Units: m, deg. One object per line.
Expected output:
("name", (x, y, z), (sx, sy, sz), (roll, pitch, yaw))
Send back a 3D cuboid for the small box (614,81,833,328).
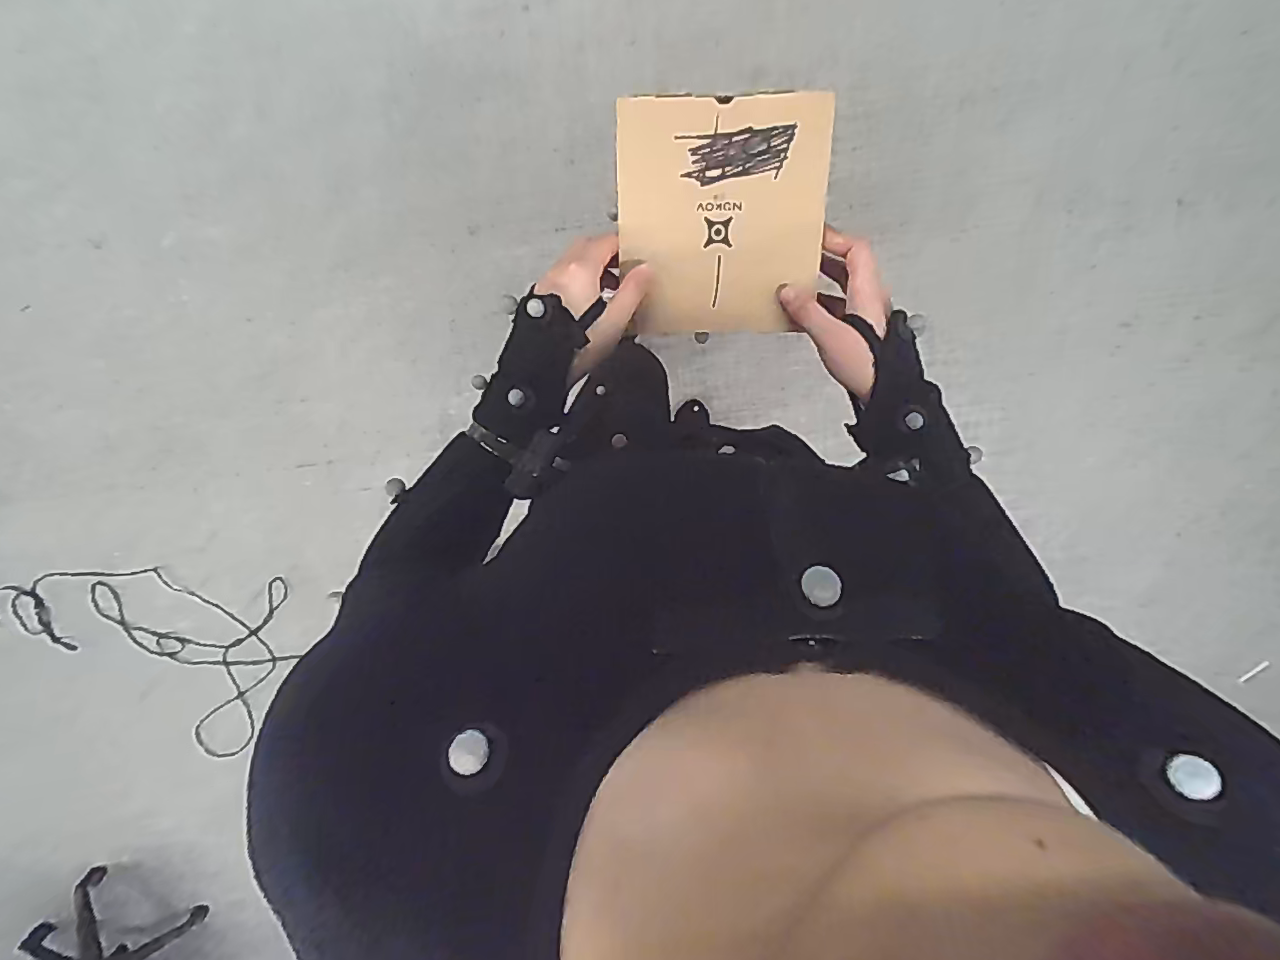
("small box", (0.064, -0.234, 0.501), (0.168, 0.176, 0.179), (1, 108, 3))
